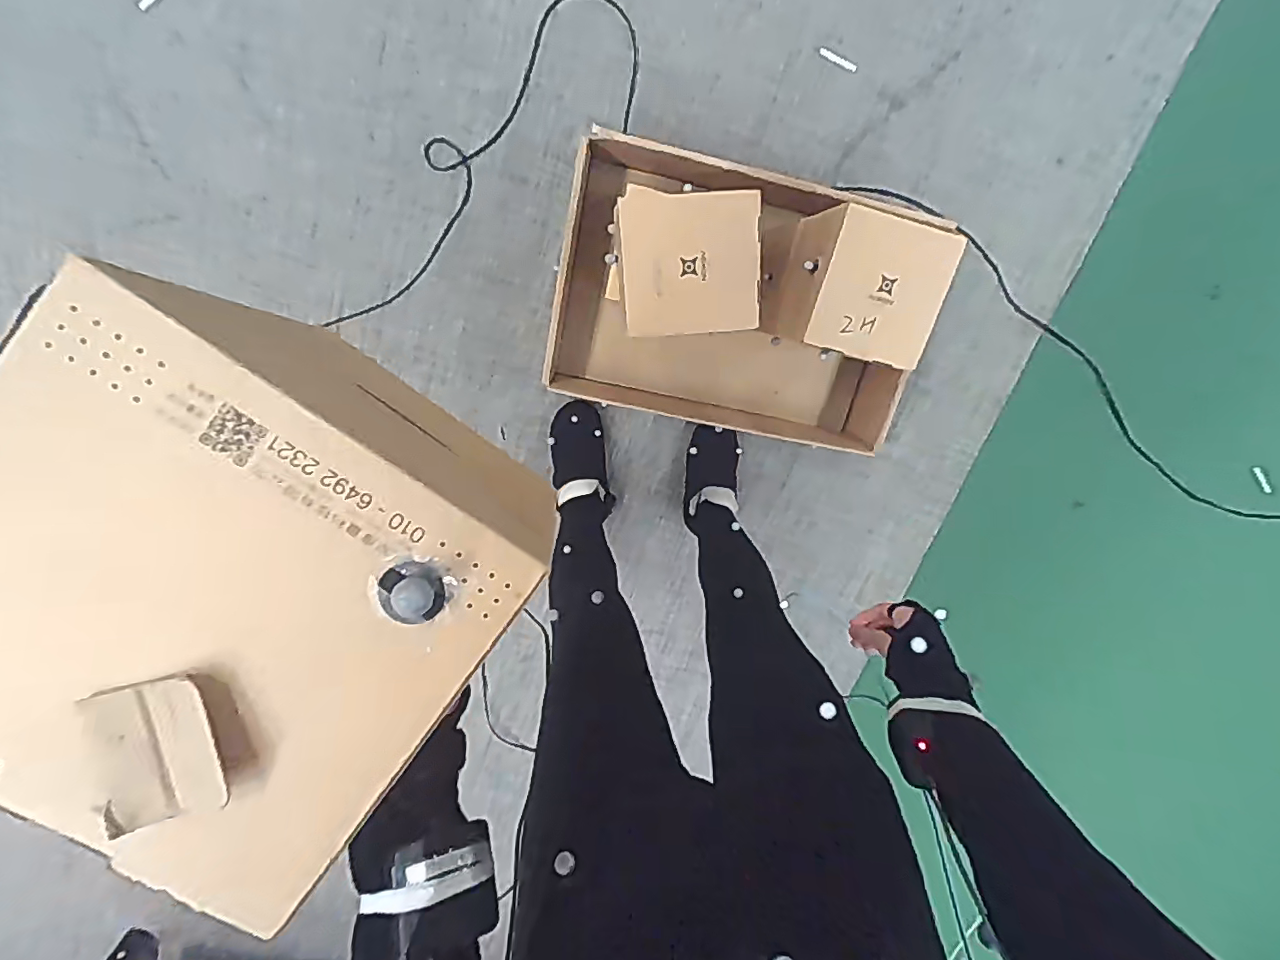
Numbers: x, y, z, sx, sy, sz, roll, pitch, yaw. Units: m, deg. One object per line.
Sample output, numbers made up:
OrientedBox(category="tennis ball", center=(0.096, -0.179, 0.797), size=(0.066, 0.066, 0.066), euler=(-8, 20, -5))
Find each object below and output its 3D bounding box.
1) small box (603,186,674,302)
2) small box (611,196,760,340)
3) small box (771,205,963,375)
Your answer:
OrientedBox(category="small box", center=(0.039, -0.363, 0.894), size=(0.179, 0.176, 0.168), euler=(11, 109, -9))
OrientedBox(category="small box", center=(0.055, -0.291, 0.748), size=(0.179, 0.176, 0.168), euler=(-5, 111, -3))
OrientedBox(category="small box", center=(0.304, -0.266, 0.770), size=(0.168, 0.176, 0.179), euler=(13, 108, -8))
